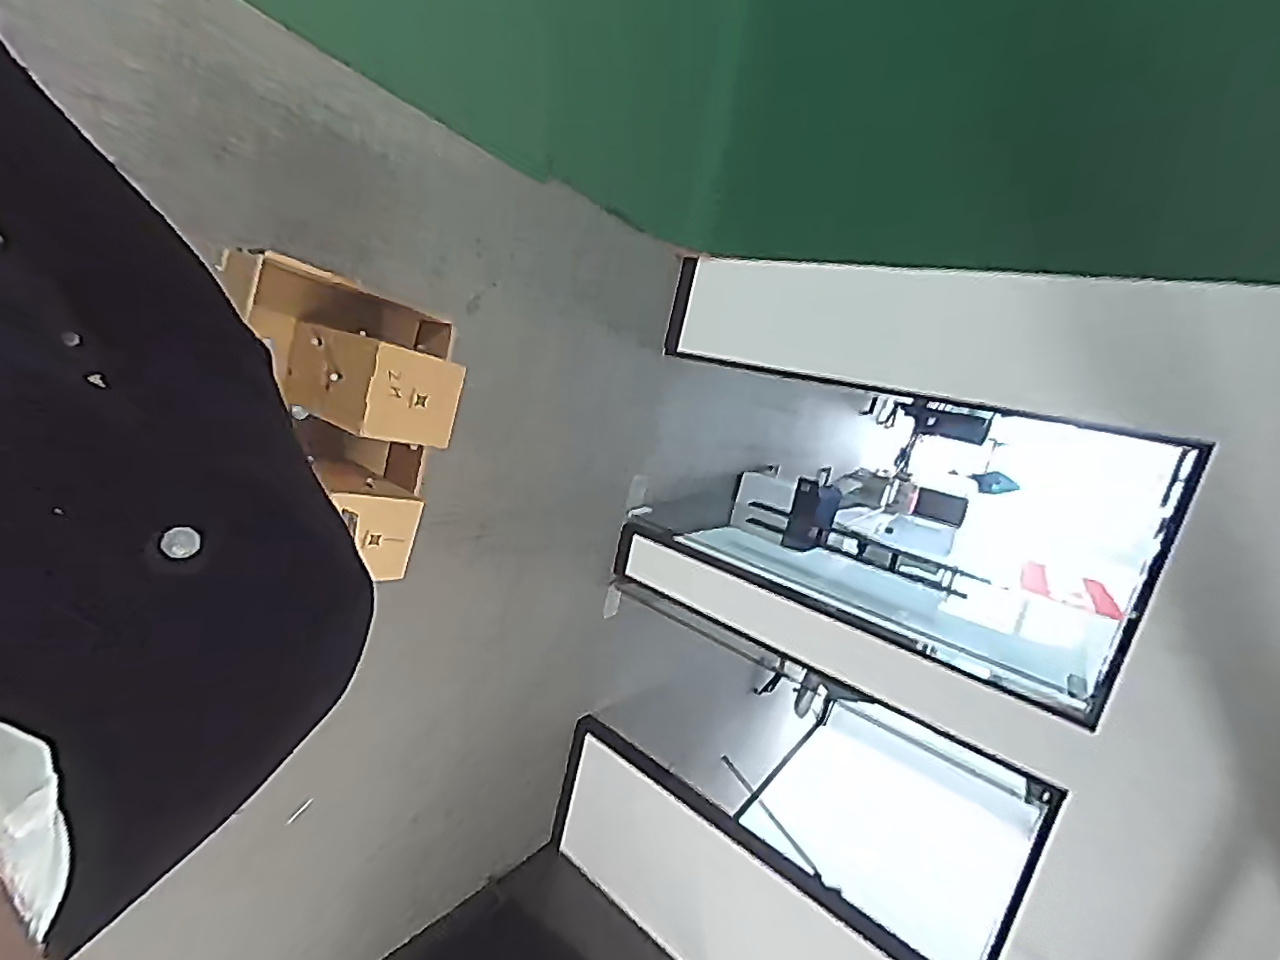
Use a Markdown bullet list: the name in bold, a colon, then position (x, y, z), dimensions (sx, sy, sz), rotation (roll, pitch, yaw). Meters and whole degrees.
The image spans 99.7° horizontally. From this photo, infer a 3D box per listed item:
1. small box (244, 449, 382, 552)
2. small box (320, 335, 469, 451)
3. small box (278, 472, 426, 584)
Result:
- **small box**: position (-0.673, 0.042, 1.115), dimensions (0.179, 0.176, 0.168), rotation (11, 98, -54)
- **small box**: position (-0.459, -0.163, 1.012), dimensions (0.179, 0.176, 0.168), rotation (8, 99, -55)
- **small box**: position (-0.547, 0.089, 1.022), dimensions (0.179, 0.176, 0.168), rotation (12, 97, -55)
